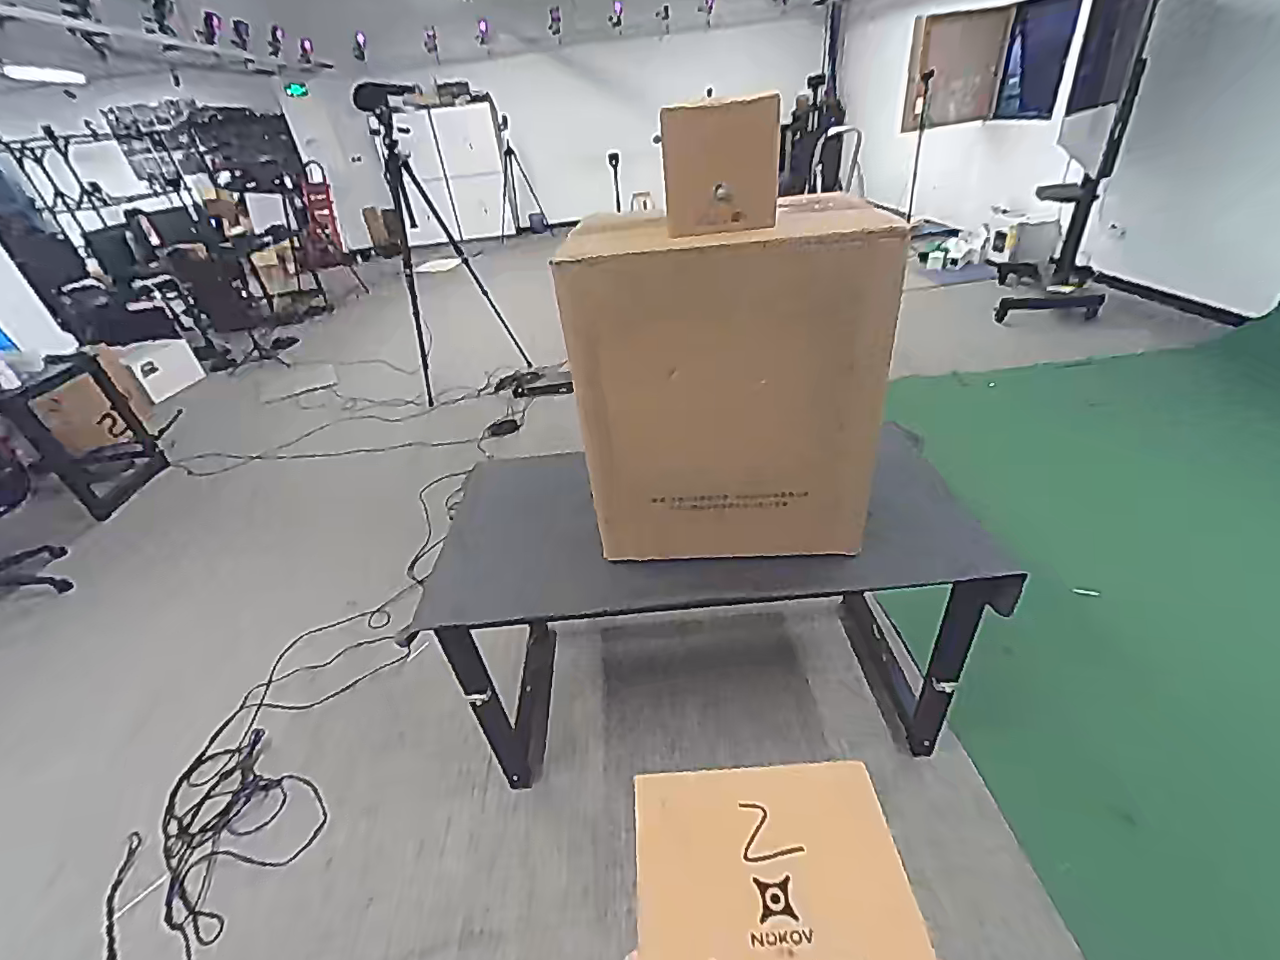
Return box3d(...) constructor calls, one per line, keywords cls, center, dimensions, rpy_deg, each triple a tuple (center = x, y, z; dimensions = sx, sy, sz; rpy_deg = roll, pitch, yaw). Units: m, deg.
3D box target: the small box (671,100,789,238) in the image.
box3d(cls="small box", center=(0.135, -0.495, 0.862), dimensions=(0.168, 0.176, 0.179), rpy_deg=(-3, 37, 5))
